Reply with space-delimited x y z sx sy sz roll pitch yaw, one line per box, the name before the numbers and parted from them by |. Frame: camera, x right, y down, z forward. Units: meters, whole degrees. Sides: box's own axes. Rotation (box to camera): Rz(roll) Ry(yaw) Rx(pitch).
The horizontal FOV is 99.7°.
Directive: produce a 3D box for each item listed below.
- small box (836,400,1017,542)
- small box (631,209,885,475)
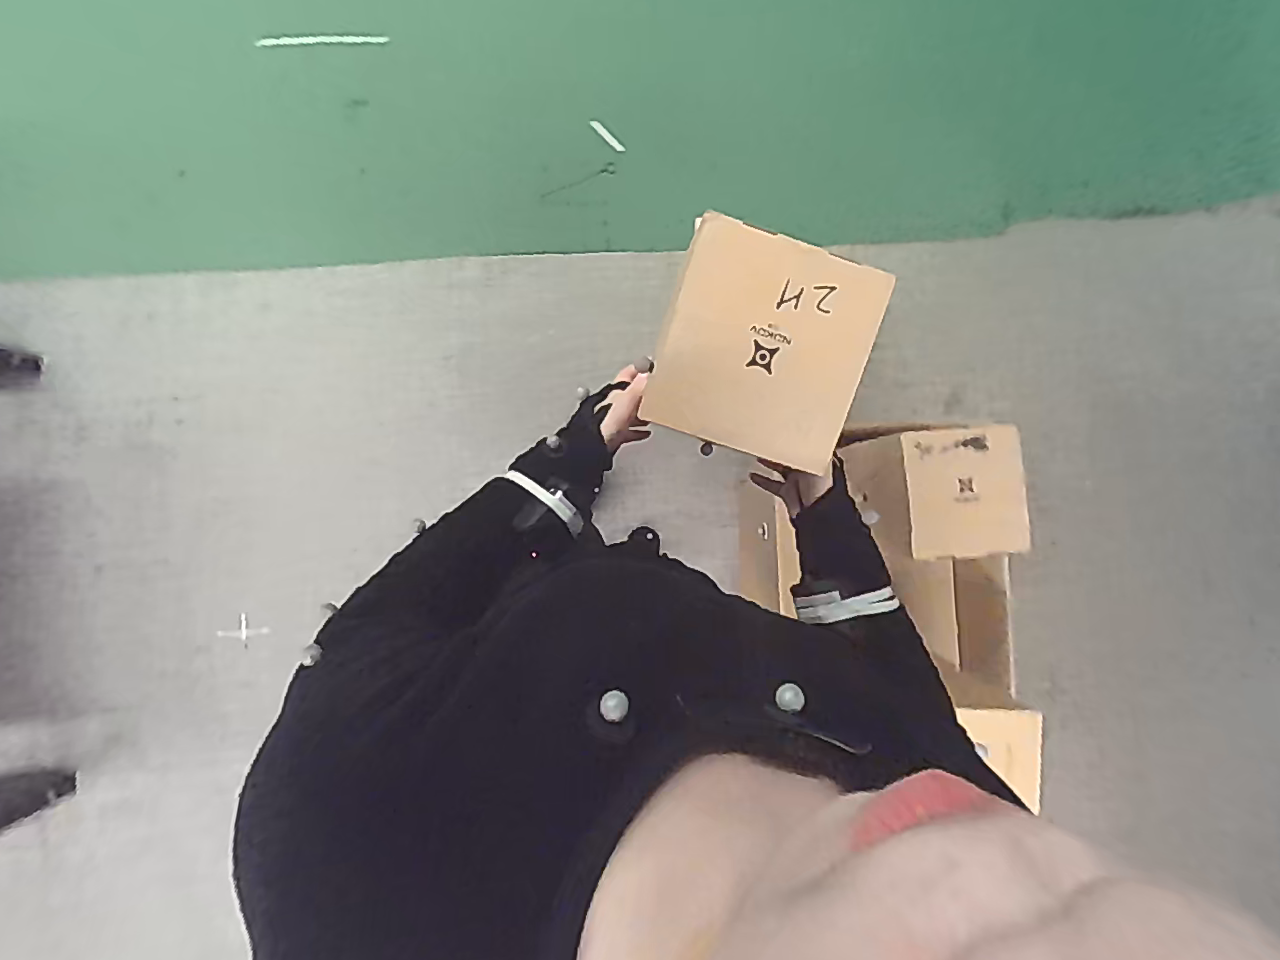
small box | 0.412 -0.011 0.805 0.168 0.176 0.179 -8 88 -3
small box | 0.095 -0.119 0.518 0.168 0.176 0.179 17 96 -4
